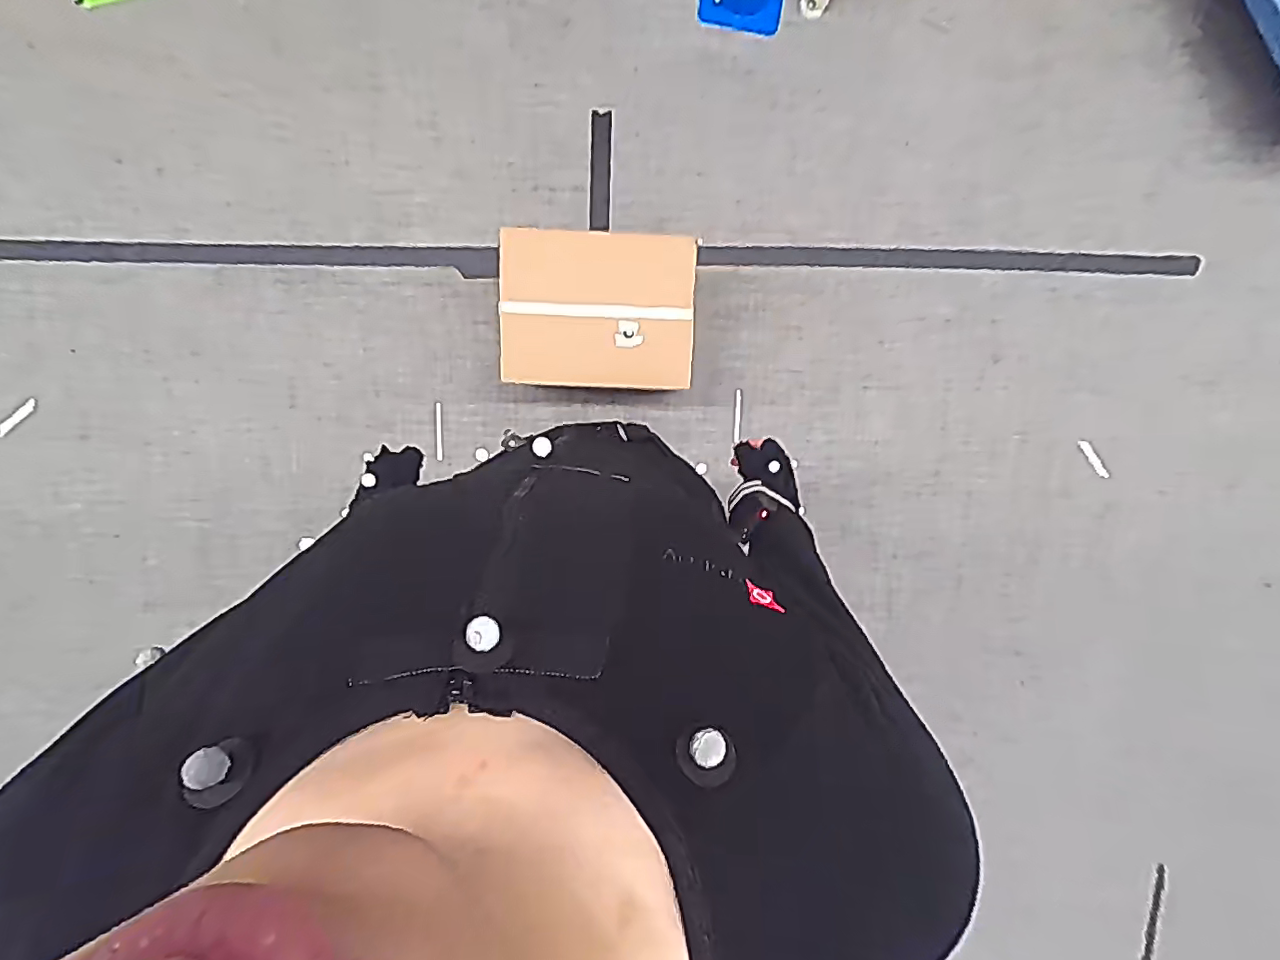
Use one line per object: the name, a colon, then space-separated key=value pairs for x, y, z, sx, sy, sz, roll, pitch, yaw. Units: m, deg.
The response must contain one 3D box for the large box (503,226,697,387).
large box: x=-0.093 y=-0.382 z=1.273 sx=0.408 sy=0.320 sz=0.320 roll=1 pitch=100 yaw=-3
